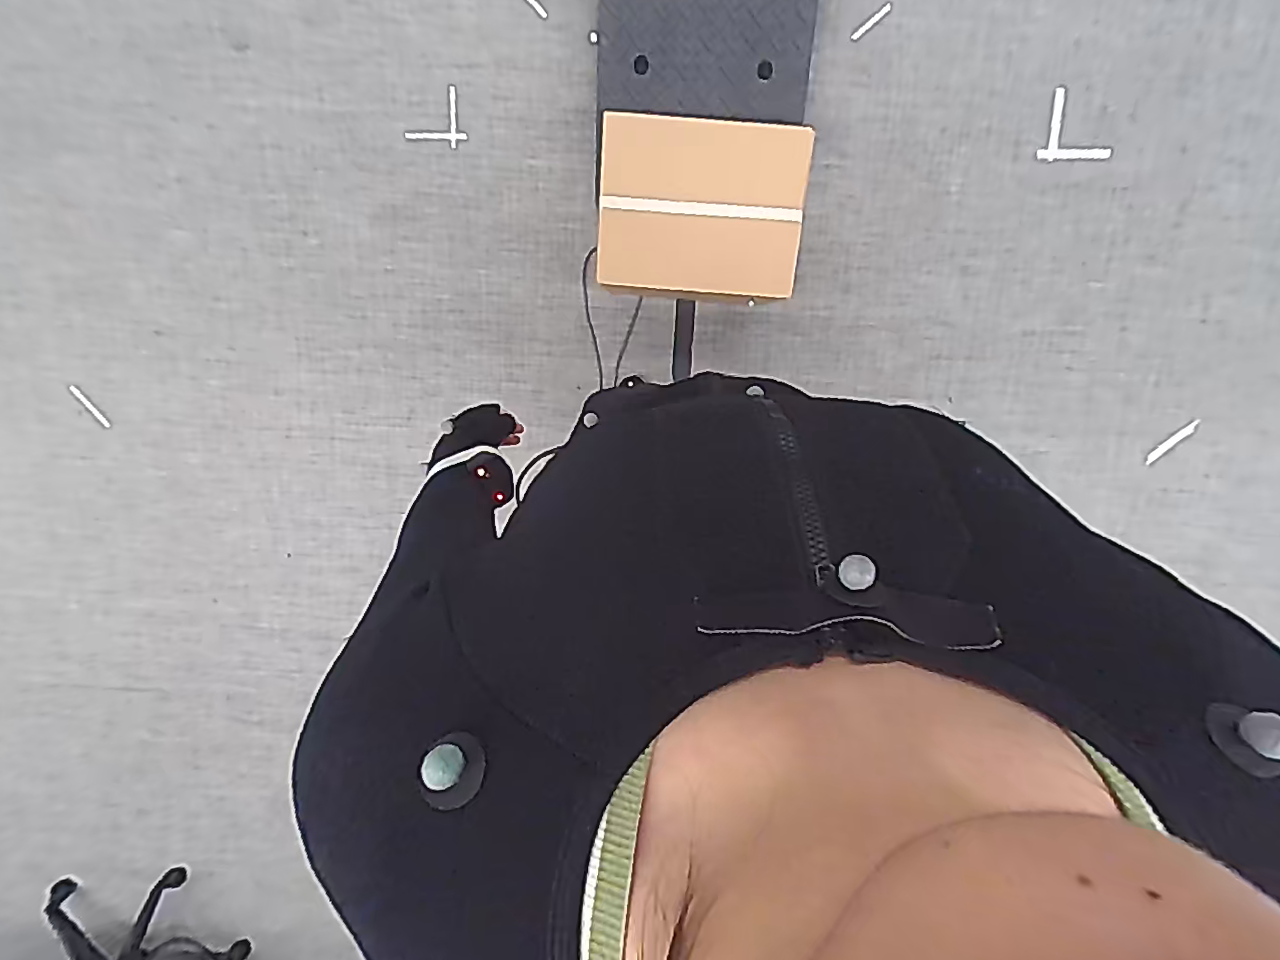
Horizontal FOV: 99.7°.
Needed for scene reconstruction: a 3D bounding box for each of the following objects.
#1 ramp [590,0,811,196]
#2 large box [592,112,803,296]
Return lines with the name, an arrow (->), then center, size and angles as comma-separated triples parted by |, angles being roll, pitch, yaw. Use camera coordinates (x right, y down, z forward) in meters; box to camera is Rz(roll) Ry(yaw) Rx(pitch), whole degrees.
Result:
ramp -> 0.142, -1.160, 1.170 | 0.509, 0.206, 0.991 | 1, 102, -1
large box -> 0.111, -0.589, 1.219 | 0.408, 0.320, 0.320 | 4, 106, -1
